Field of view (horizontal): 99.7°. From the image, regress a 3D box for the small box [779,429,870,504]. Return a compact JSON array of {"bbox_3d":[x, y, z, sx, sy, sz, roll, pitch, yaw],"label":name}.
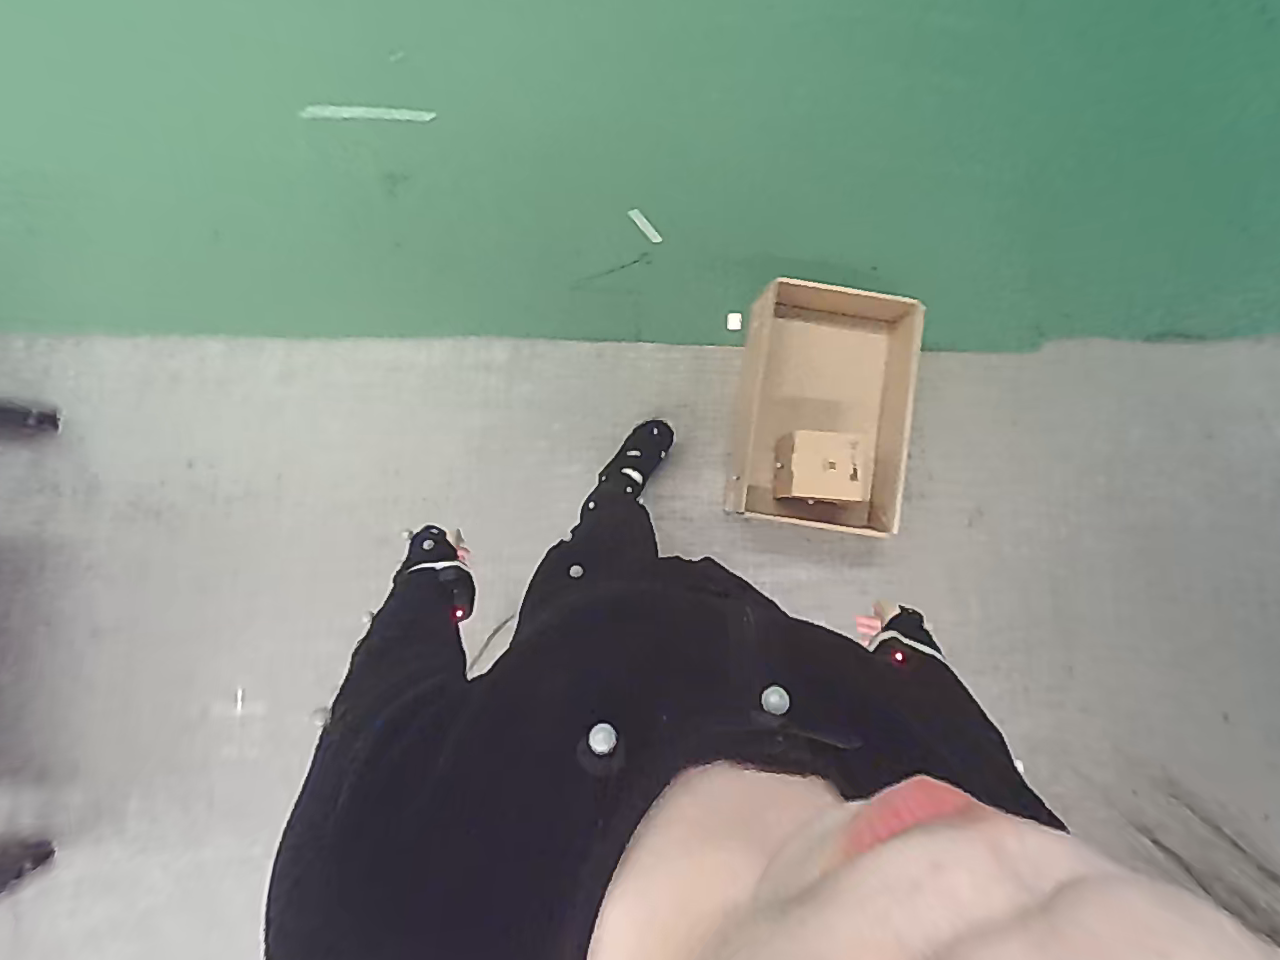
[{"bbox_3d":[0.465,-0.029,1.385,0.179,0.176,0.168,5,86,0],"label":"small box"}]
